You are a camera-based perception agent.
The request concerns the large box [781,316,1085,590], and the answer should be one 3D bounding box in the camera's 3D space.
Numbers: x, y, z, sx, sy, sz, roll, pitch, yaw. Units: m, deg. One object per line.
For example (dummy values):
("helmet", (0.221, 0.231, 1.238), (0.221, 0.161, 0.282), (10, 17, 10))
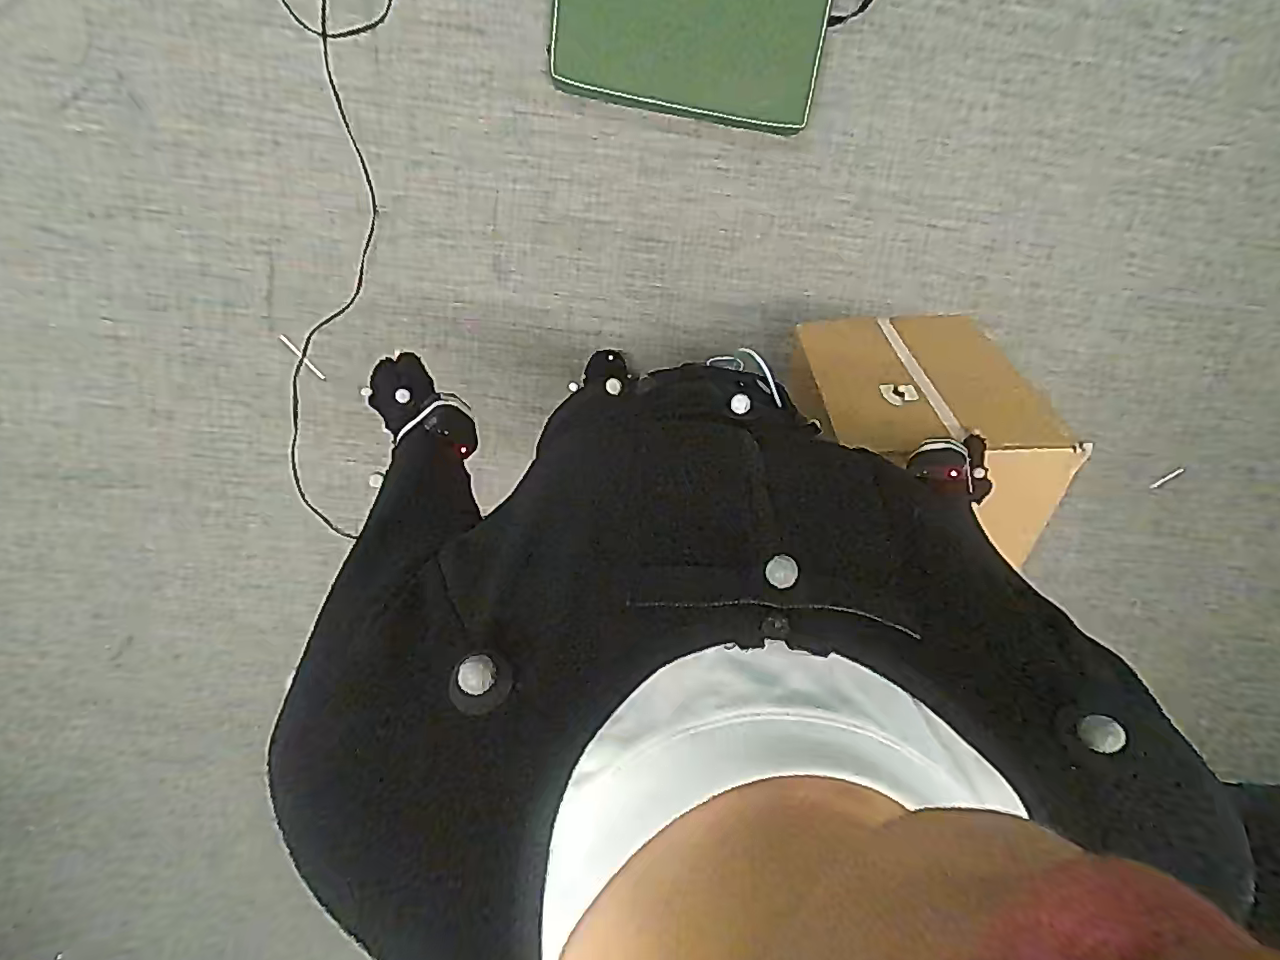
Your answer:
("large box", (0.450, -0.058, 0.963), (0.320, 0.408, 0.320), (-2, 132, 5))
